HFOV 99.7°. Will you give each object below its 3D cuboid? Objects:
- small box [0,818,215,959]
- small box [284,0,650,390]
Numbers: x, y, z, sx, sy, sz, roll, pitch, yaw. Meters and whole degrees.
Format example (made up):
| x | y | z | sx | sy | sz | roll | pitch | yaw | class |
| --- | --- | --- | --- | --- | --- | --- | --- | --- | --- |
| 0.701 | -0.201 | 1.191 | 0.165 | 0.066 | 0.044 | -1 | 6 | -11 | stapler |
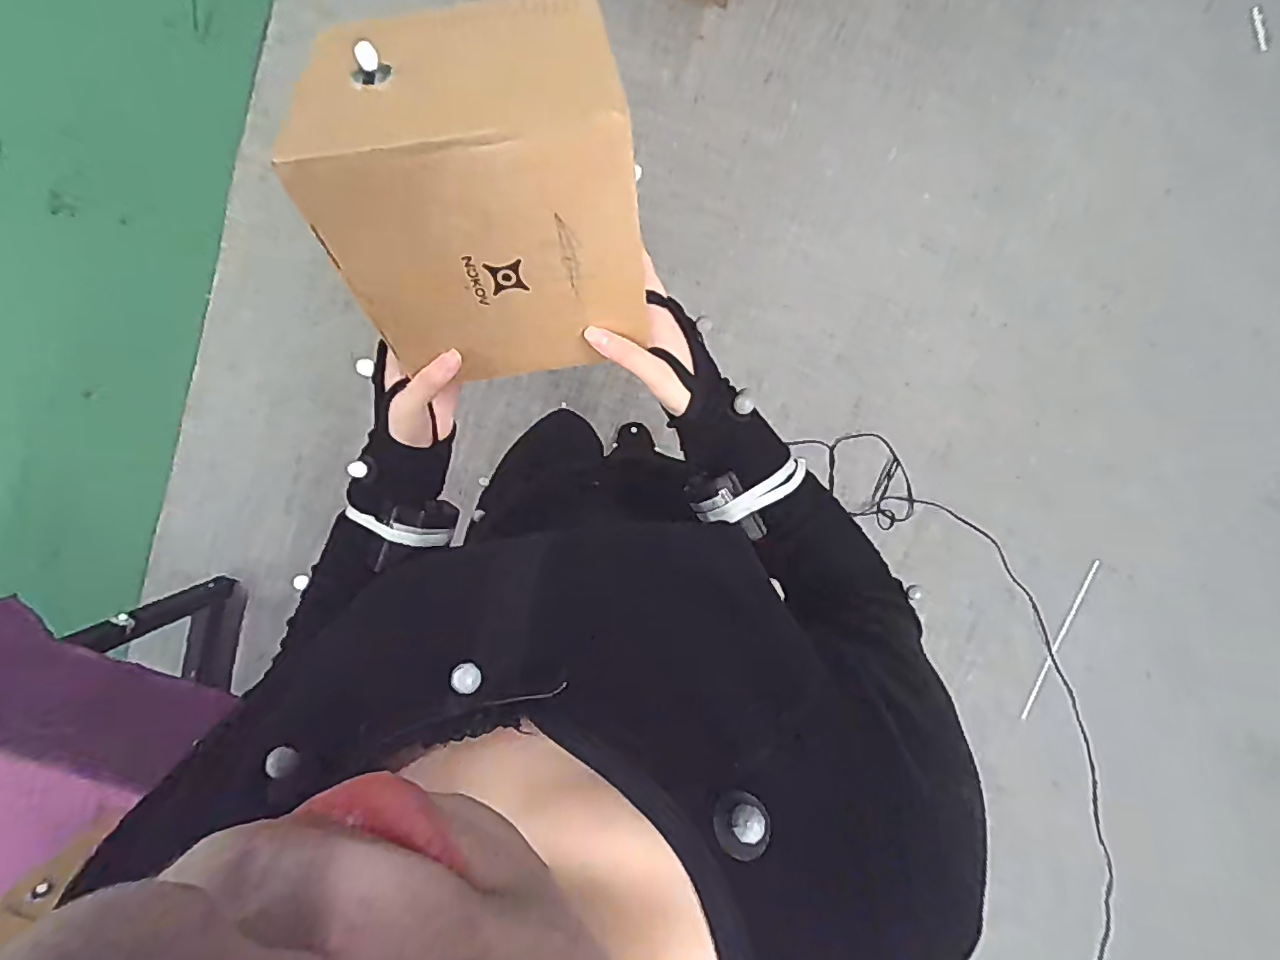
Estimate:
| x | y | z | sx | sy | sz | roll | pitch | yaw | class |
| --- | --- | --- | --- | --- | --- | --- | --- | --- | --- |
| -0.782 | 0.644 | 0.797 | 0.179 | 0.176 | 0.168 | 18 | 99 | 1 | small box |
| -0.092 | -0.188 | 0.368 | 0.179 | 0.168 | 0.176 | -9 | 59 | -1 | small box |
